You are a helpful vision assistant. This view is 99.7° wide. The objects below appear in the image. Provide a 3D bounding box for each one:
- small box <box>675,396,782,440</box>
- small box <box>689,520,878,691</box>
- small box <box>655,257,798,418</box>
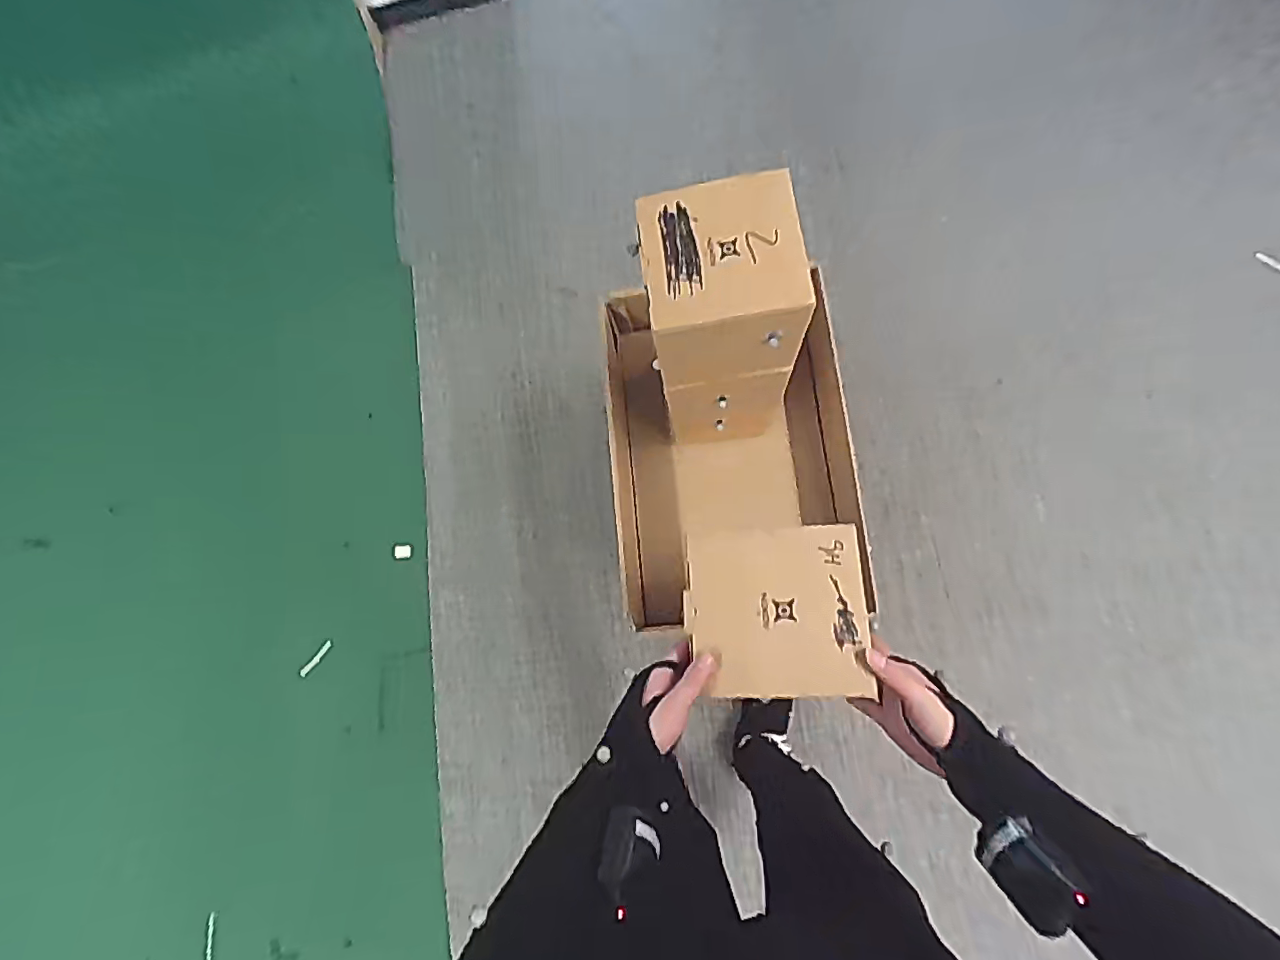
[{"bbox_3d":[0.147,-0.176,0.972,0.179,0.176,0.168,-6,79,7],"label":"small box"},{"bbox_3d":[0.154,0.144,0.615,0.179,0.176,0.168,-4,75,10],"label":"small box"},{"bbox_3d":[0.125,-0.202,0.811,0.179,0.176,0.168,-8,79,7],"label":"small box"}]
